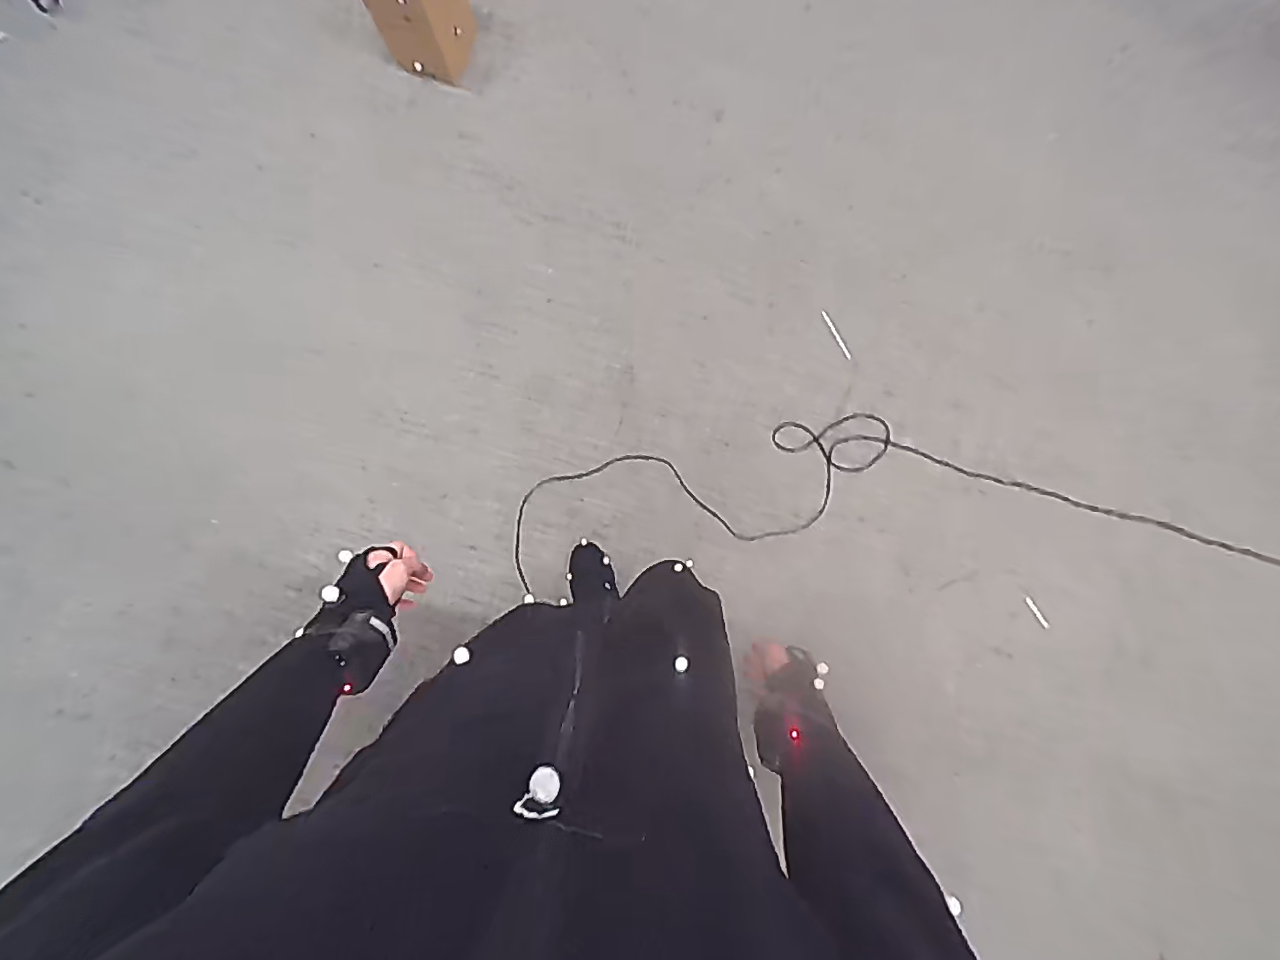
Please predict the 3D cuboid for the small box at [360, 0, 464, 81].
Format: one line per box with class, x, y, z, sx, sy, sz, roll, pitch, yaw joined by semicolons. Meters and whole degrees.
small box;-0.561;-1.166;1.358;0.168;0.176;0.179;17;89;1
